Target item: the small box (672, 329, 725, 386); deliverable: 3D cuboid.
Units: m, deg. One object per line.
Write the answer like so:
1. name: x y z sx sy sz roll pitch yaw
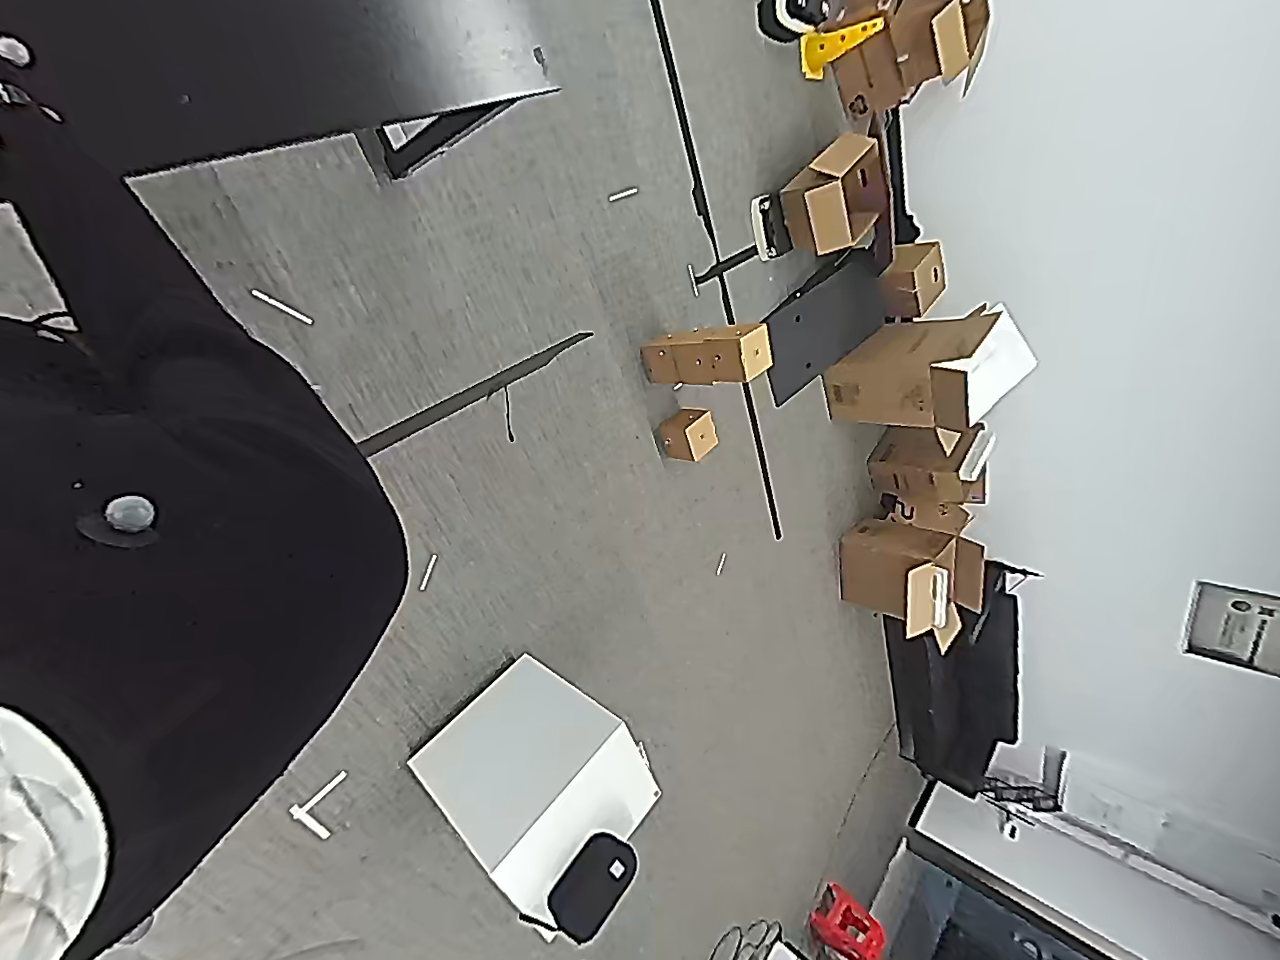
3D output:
1. small box: 0.250 -0.483 2.140 0.168 0.176 0.179 -39 124 -33

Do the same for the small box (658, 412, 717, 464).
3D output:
1. small box: 0.212 -0.193 2.400 0.179 0.176 0.168 -40 122 -31

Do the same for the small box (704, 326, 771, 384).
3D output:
1. small box: 0.365 -0.471 2.025 0.179 0.176 0.168 -36 123 -33
